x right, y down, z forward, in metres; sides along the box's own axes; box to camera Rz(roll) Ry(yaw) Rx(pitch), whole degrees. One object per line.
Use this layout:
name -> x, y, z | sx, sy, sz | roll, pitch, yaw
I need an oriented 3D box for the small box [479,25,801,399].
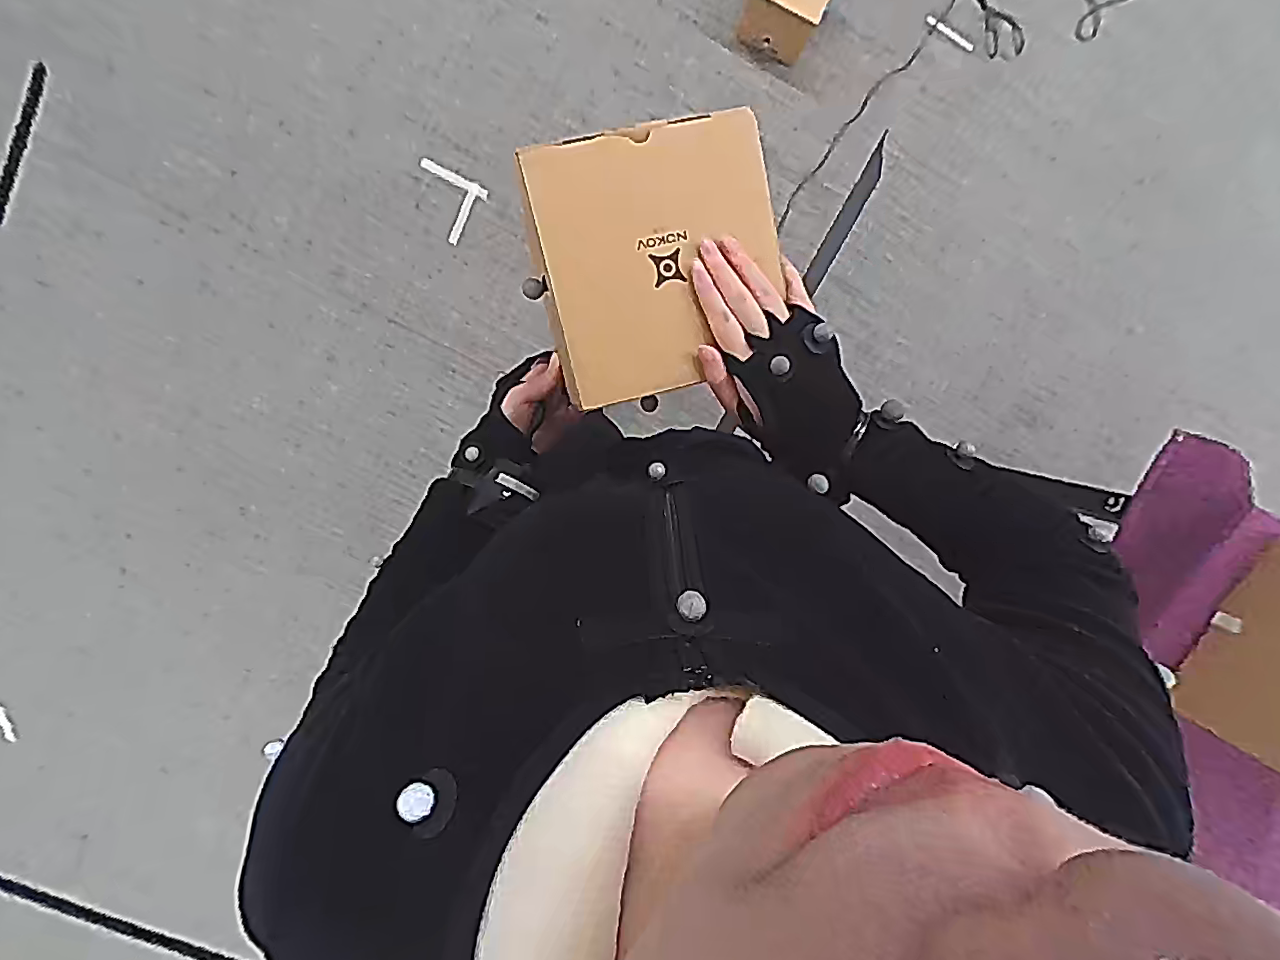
small box -> 0.012, -0.179, 0.407 | 0.179, 0.176, 0.168 | -18, 82, 12
